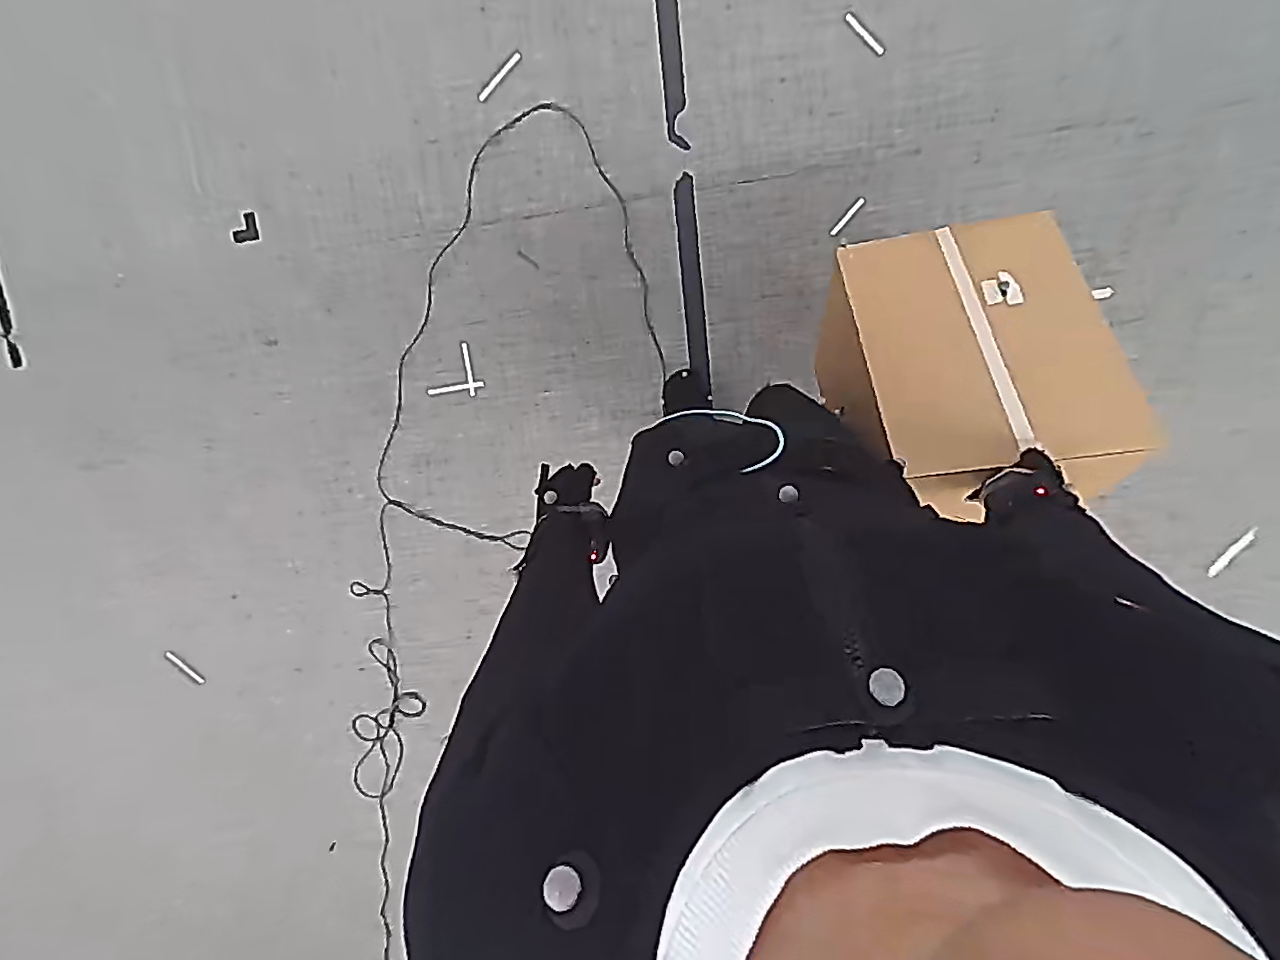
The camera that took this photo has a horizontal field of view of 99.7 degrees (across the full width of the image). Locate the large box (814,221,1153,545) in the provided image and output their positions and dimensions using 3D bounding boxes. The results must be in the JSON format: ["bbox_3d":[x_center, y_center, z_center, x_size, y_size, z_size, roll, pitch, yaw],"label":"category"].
[{"bbox_3d":[0.500,-0.141,0.903,0.320,0.320,0.408,-7,65,6],"label":"large box"}]
